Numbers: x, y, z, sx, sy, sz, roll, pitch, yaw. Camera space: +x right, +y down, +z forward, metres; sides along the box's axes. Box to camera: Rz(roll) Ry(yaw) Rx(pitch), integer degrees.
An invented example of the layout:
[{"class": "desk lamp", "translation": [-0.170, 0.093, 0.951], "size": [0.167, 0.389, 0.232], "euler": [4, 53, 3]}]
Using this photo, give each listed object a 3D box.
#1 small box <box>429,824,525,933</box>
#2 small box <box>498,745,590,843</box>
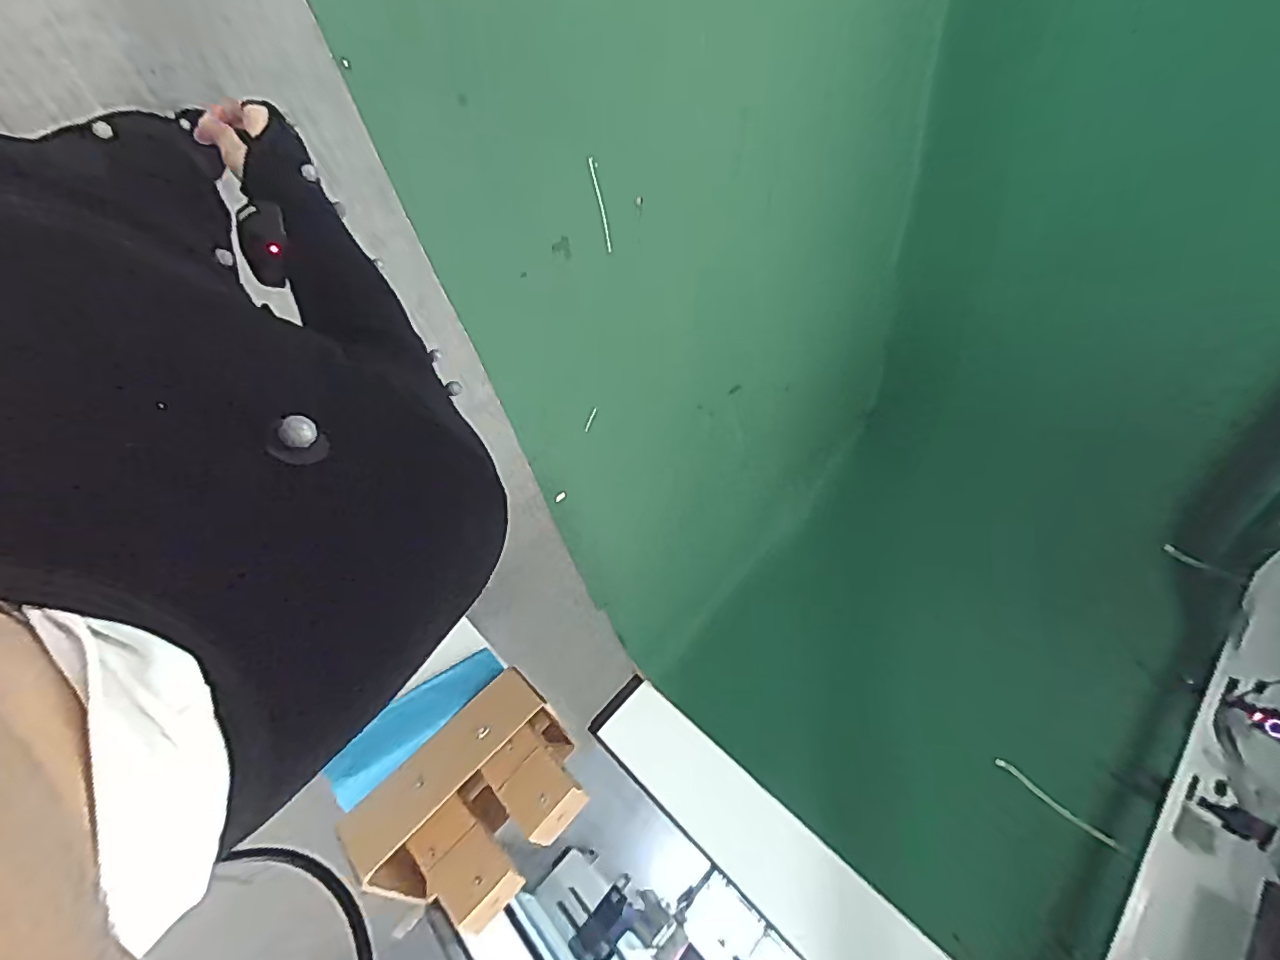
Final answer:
[{"class": "small box", "translation": [-0.460, 1.122, 1.531], "size": [0.179, 0.176, 0.168], "euler": [-38, 140, -26]}, {"class": "small box", "translation": [-0.283, 0.921, 1.592], "size": [0.179, 0.176, 0.168], "euler": [-43, 143, -19]}]
